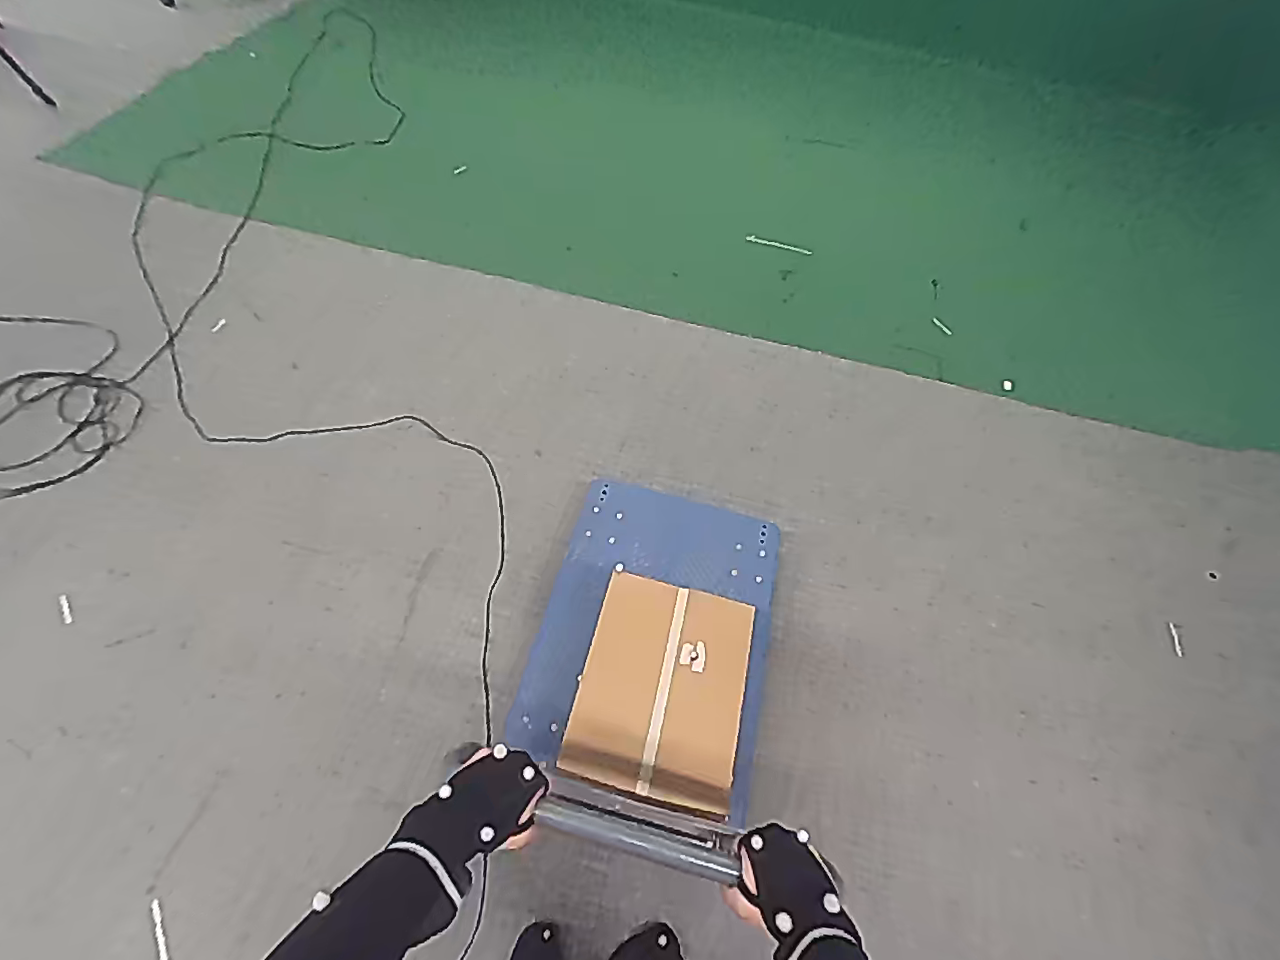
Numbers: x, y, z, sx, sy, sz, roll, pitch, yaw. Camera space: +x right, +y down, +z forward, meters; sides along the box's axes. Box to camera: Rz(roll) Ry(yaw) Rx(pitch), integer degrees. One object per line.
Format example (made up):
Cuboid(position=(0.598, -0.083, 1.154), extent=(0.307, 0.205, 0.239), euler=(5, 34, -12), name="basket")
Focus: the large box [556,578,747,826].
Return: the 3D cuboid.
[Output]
Cuboid(position=(0.026, 0.487, 1.174), extent=(0.320, 0.320, 0.408), euler=(14, 57, 2), name="large box")
